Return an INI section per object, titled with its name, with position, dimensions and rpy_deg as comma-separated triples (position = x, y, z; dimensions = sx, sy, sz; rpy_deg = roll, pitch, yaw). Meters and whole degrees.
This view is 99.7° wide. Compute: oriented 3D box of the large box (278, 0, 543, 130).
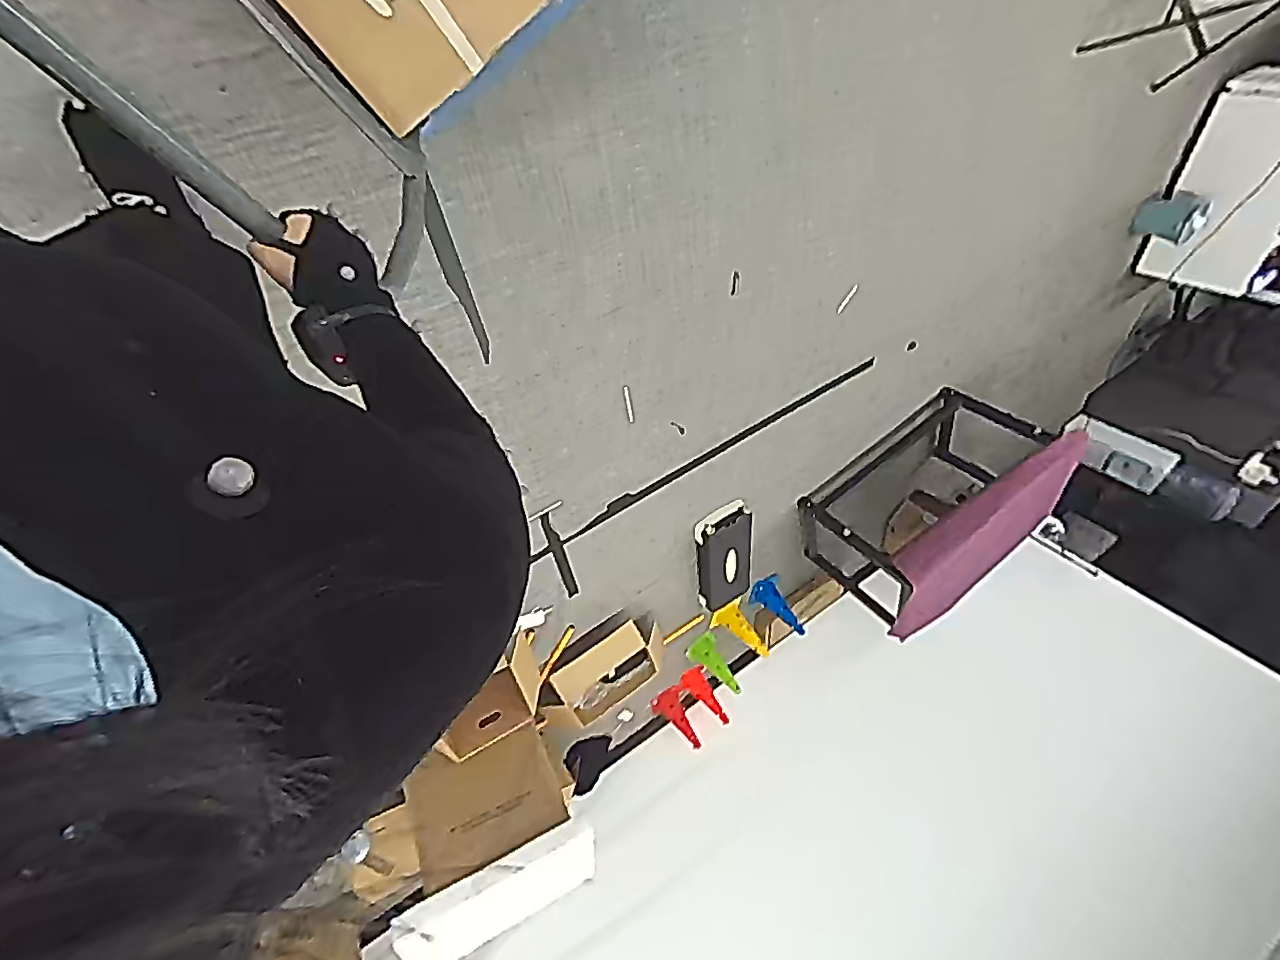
[large box]
position = -0.389, -0.802, 0.735
dimensions = 0.320, 0.320, 0.408
rpy_deg = -32, 140, 12
